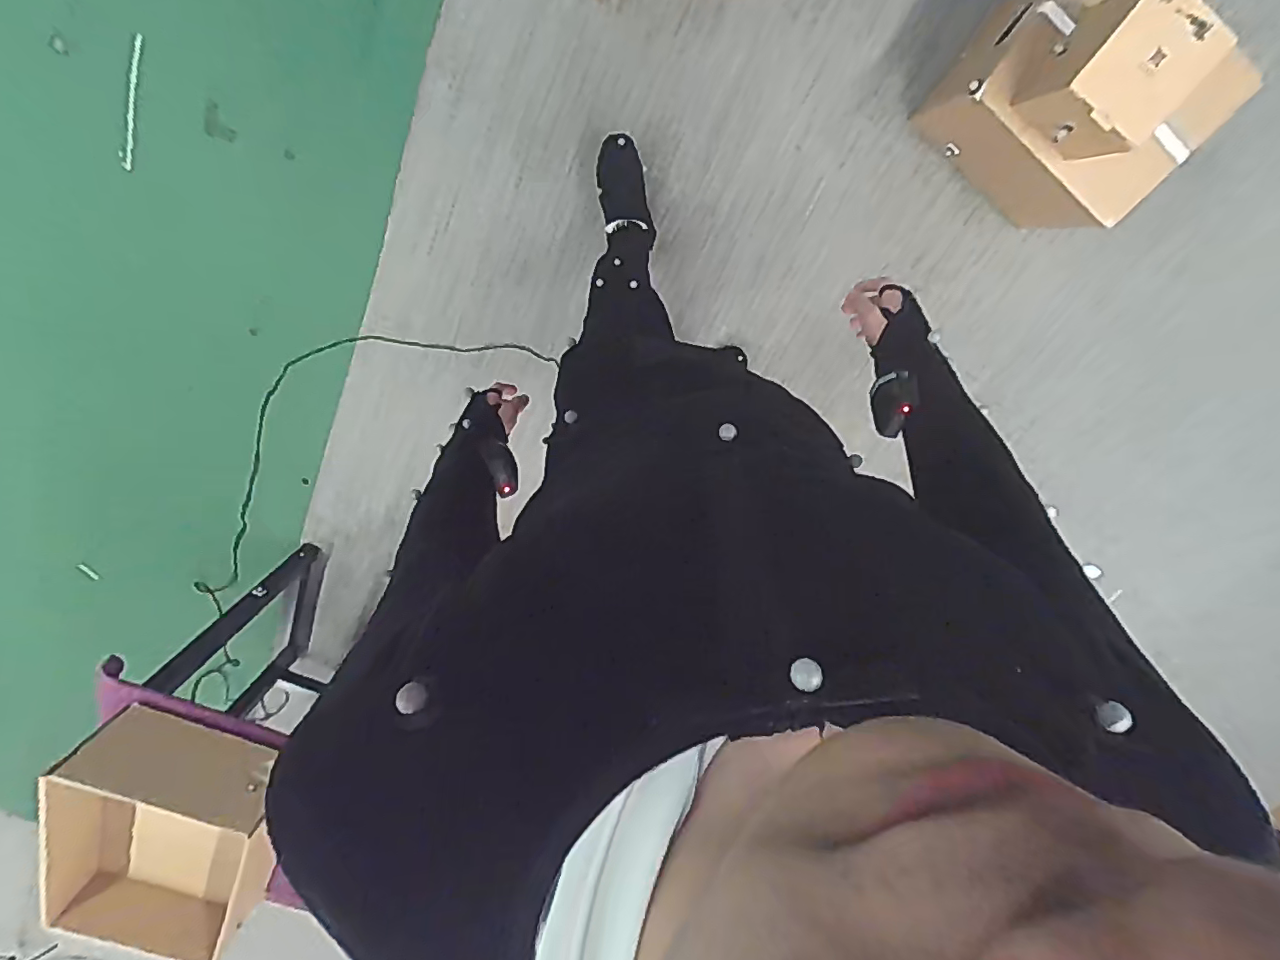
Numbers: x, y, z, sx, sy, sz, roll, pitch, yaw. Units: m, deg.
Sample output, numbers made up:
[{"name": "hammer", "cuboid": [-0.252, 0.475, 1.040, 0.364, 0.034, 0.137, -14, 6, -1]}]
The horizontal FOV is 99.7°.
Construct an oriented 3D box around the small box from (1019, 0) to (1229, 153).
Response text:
[{"name": "small box", "cuboid": [0.789, -0.685, 0.912, 0.168, 0.176, 0.179, 31, 114, -11]}]
